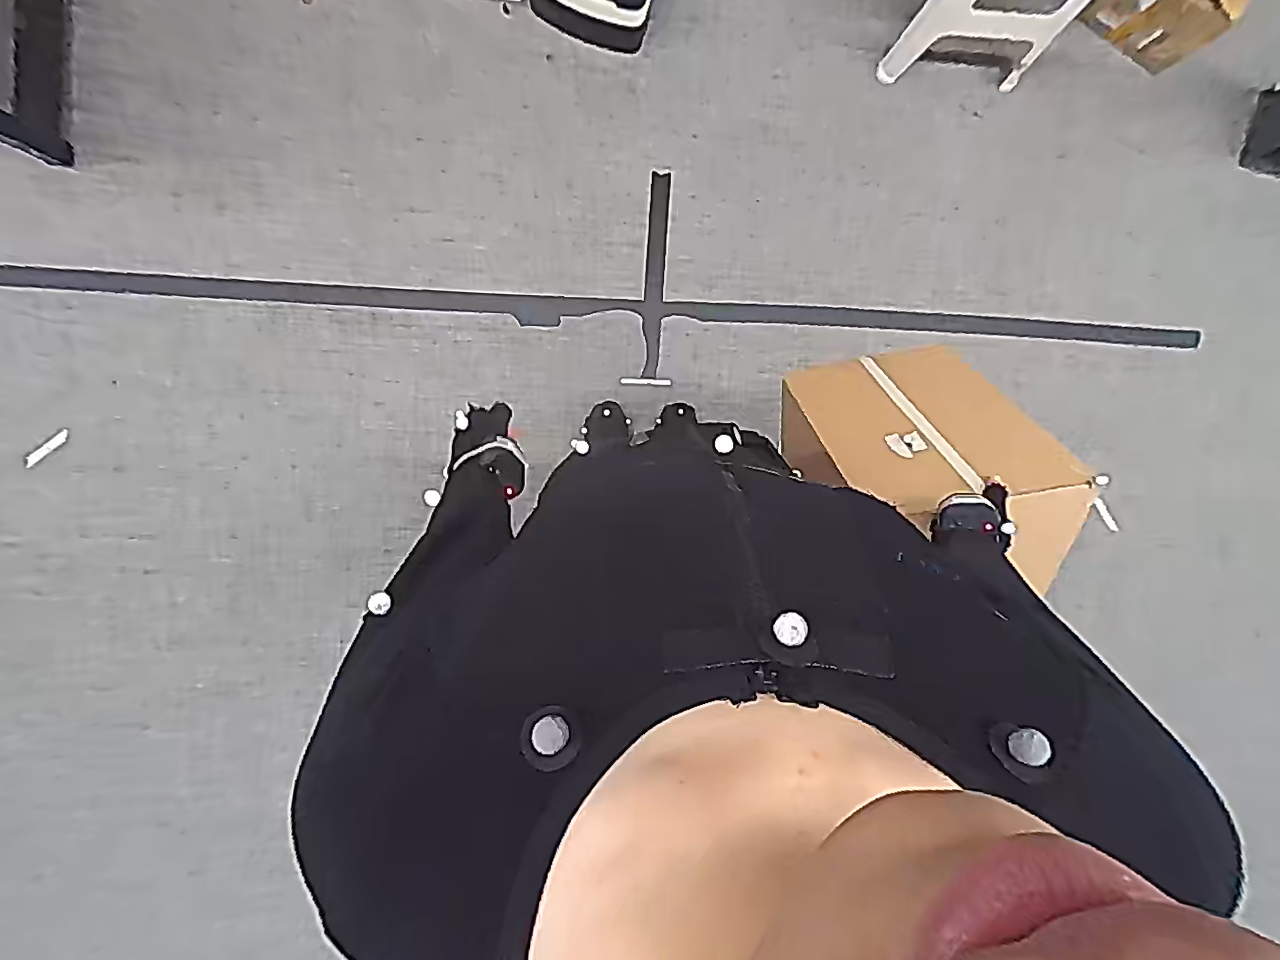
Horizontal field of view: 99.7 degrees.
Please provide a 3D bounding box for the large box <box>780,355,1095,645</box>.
[{"bbox_3d":[0.468,0.024,0.982,0.320,0.408,0.320,-11,131,1],"label":"large box"}]
